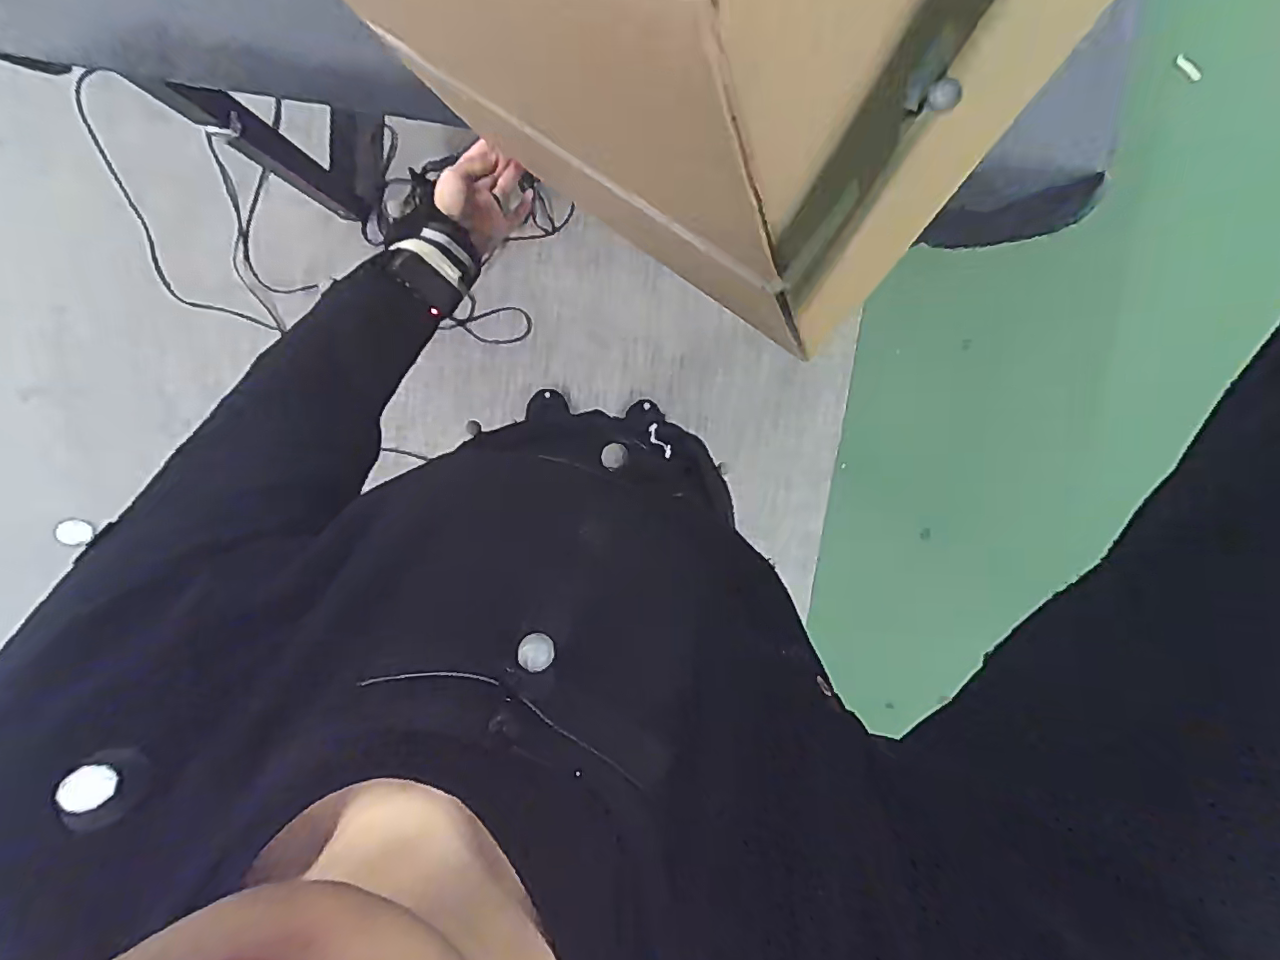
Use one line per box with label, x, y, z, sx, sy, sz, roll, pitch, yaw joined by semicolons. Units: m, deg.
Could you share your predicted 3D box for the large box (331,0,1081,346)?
large box;0.024;-0.340;0.314;0.408;0.320;0.320;40;100;19
